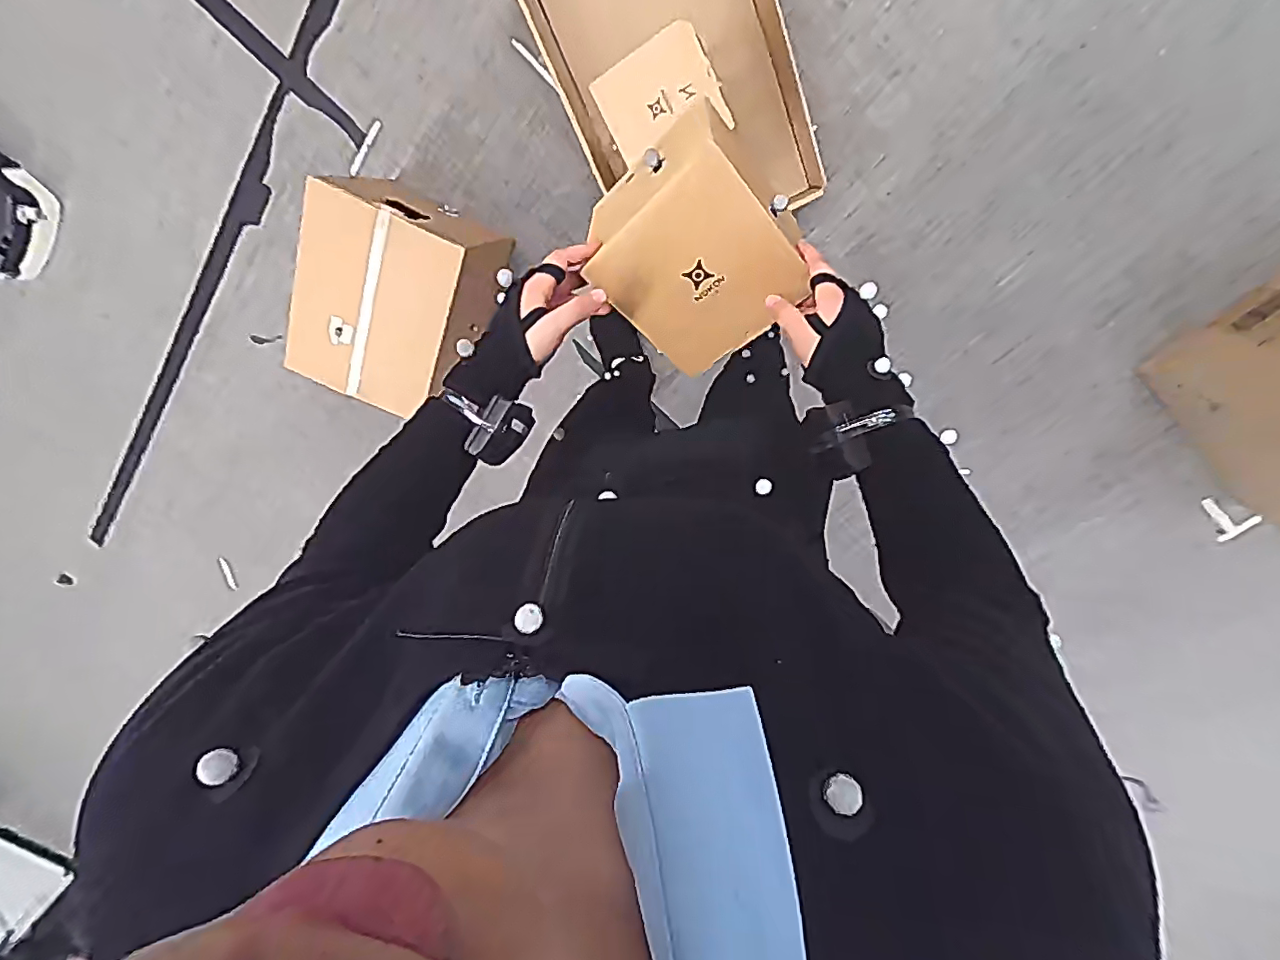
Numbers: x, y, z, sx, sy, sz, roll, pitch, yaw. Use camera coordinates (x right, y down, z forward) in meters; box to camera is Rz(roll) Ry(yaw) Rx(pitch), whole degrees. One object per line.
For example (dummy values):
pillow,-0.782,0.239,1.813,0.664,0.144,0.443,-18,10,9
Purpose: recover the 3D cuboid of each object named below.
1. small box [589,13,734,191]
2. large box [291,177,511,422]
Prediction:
small box,0.043,-0.602,0.894,0.179,0.176,0.168,-25,110,17
large box,-0.528,-0.414,1.225,0.320,0.320,0.408,24,118,-5
